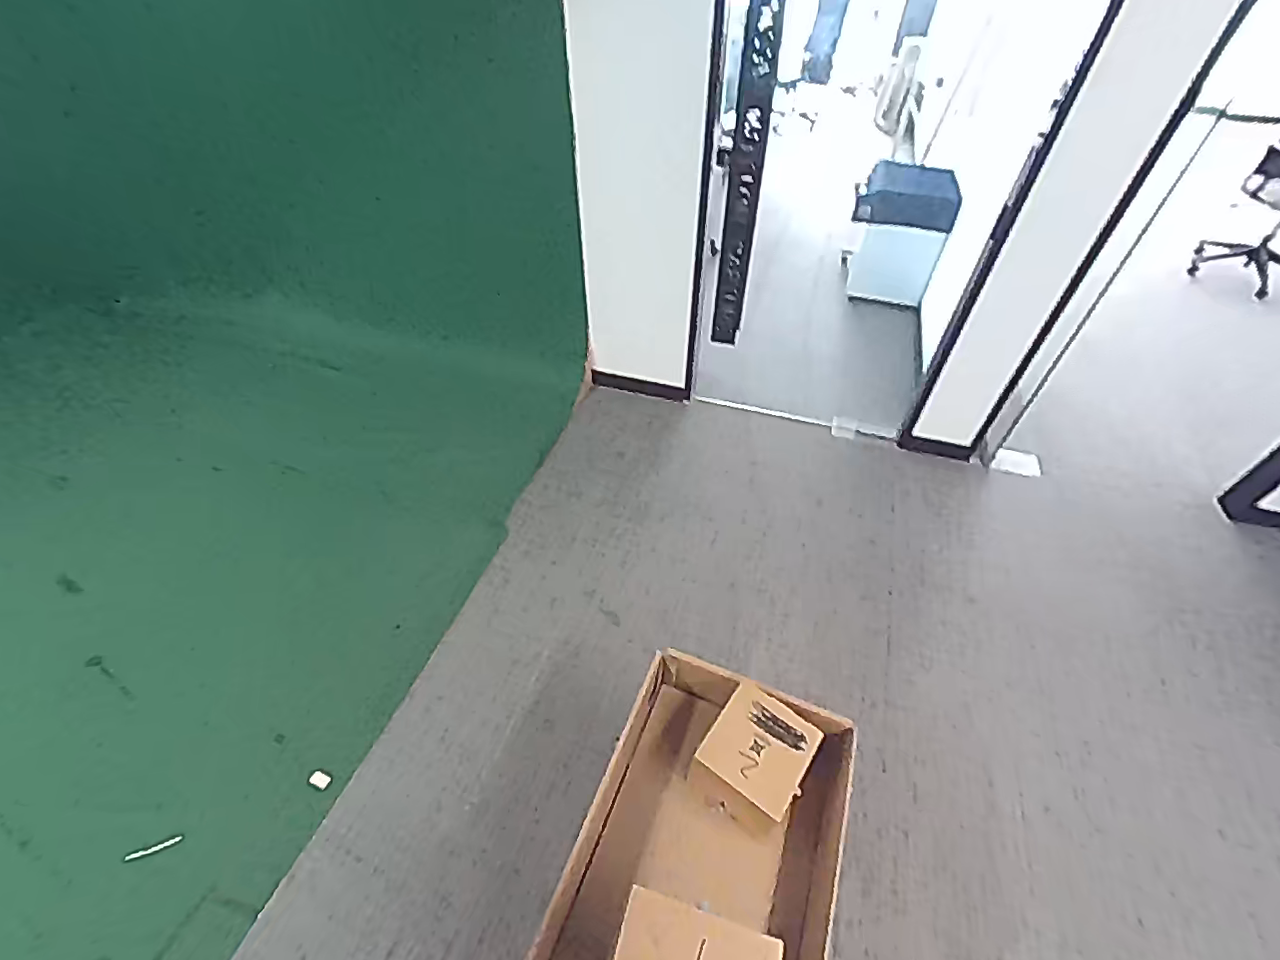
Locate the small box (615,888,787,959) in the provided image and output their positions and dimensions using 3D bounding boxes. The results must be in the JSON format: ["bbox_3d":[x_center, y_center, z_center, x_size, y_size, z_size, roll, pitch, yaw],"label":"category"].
[{"bbox_3d":[0.045,0.567,0.565,0.168,0.176,0.179,14,50,11],"label":"small box"}]
